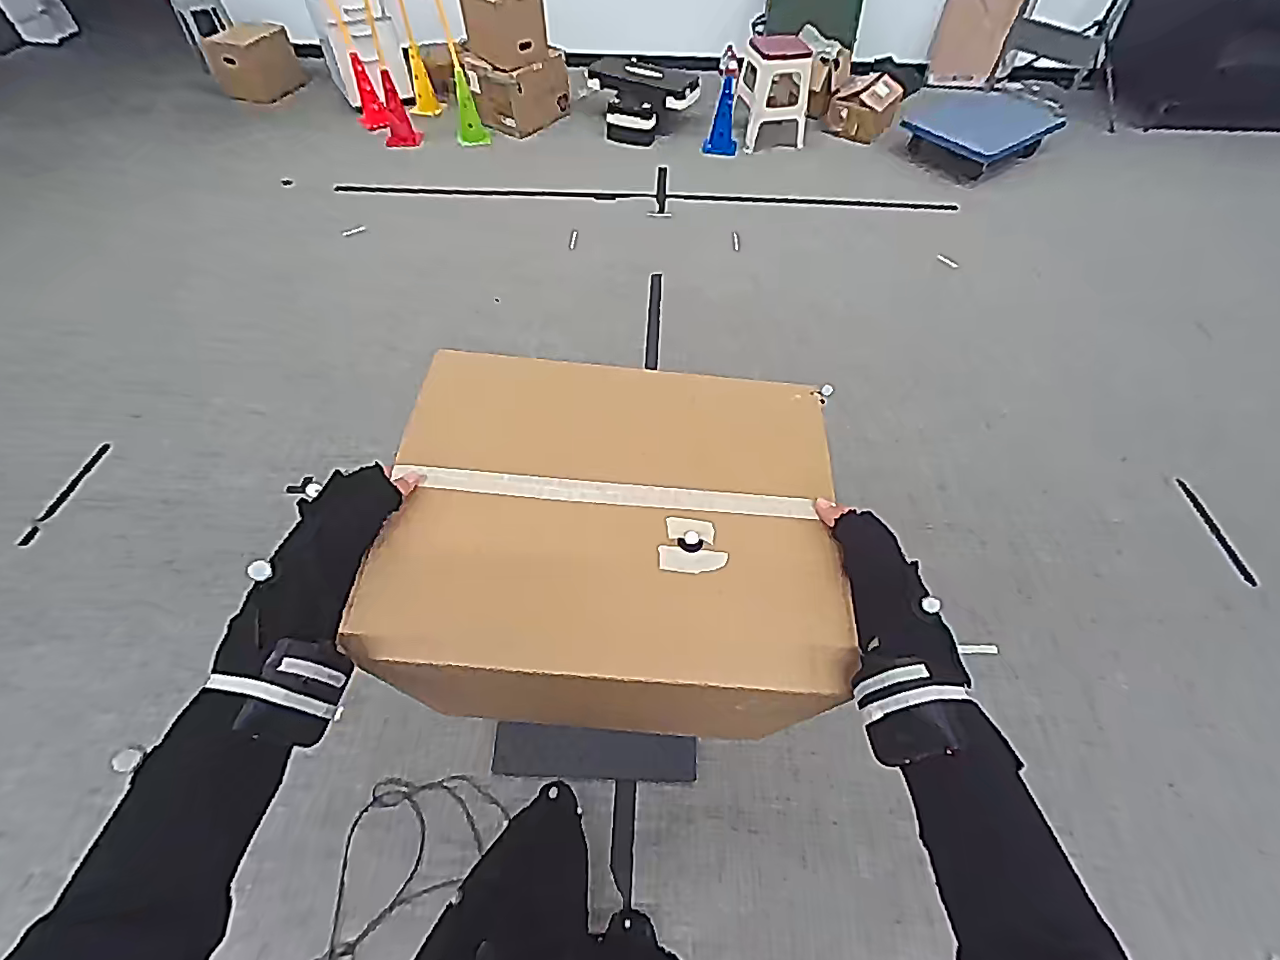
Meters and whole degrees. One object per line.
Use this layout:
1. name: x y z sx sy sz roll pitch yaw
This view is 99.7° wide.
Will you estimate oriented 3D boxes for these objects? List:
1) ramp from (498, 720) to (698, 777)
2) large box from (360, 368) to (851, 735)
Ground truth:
1. ramp: -0.084 0.261 1.520 0.509 0.206 0.991 1 54 -1
2. large box: -0.030 0.101 0.634 0.408 0.320 0.320 6 59 -2
